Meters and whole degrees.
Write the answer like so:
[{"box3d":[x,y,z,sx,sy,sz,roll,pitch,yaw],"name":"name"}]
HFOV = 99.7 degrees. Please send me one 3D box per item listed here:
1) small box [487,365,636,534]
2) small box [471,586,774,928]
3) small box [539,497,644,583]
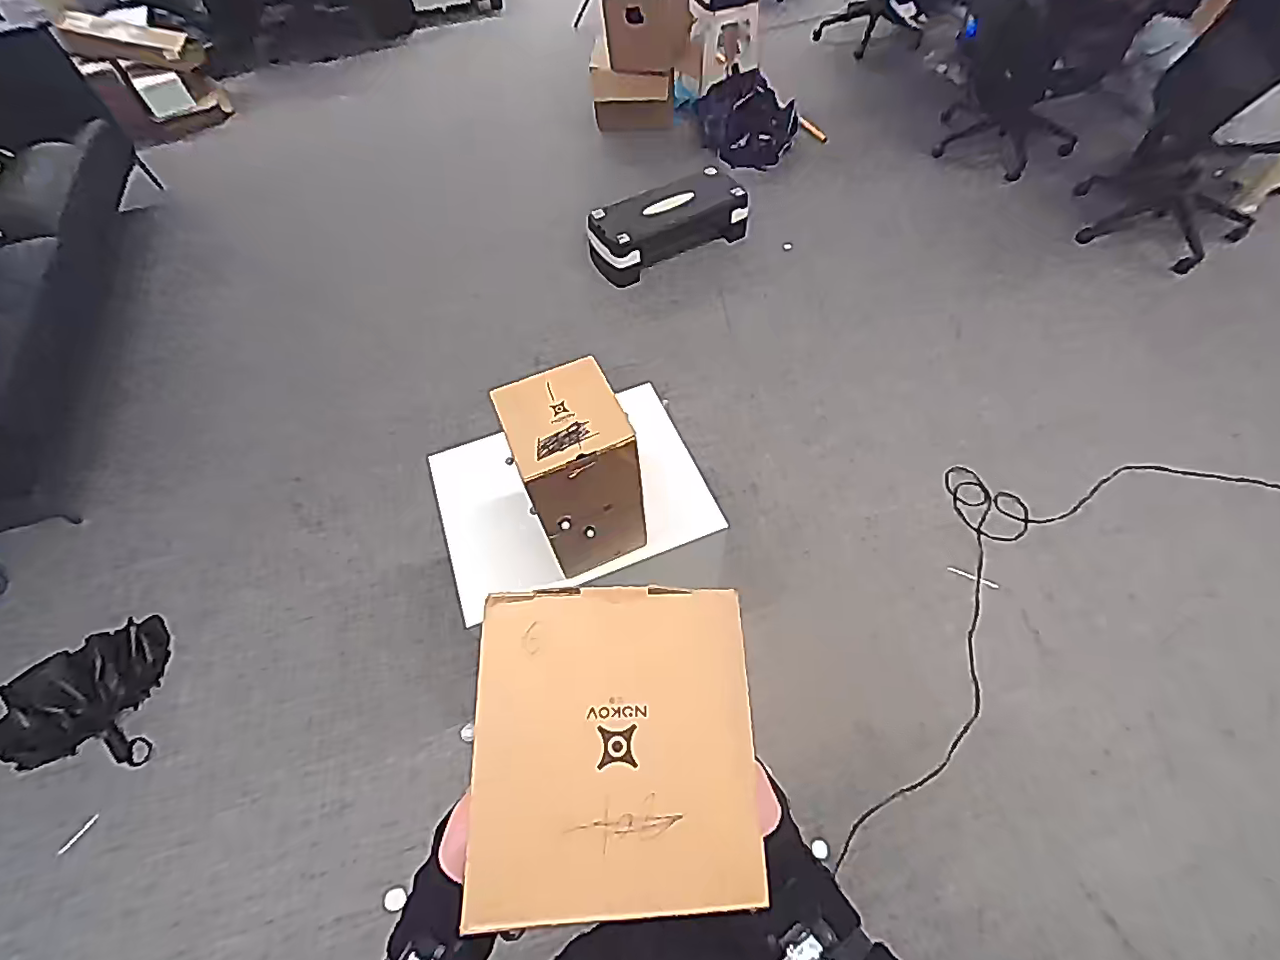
[{"box3d":[-0.113,-0.038,0.831,0.168,0.176,0.179,-22,57,-11],"name":"small box"},{"box3d":[-0.019,0.181,0.392,0.168,0.176,0.179,0,68,-7],"name":"small box"},{"box3d":[-0.104,0.053,0.968,0.168,0.176,0.179,-24,57,-11],"name":"small box"}]
